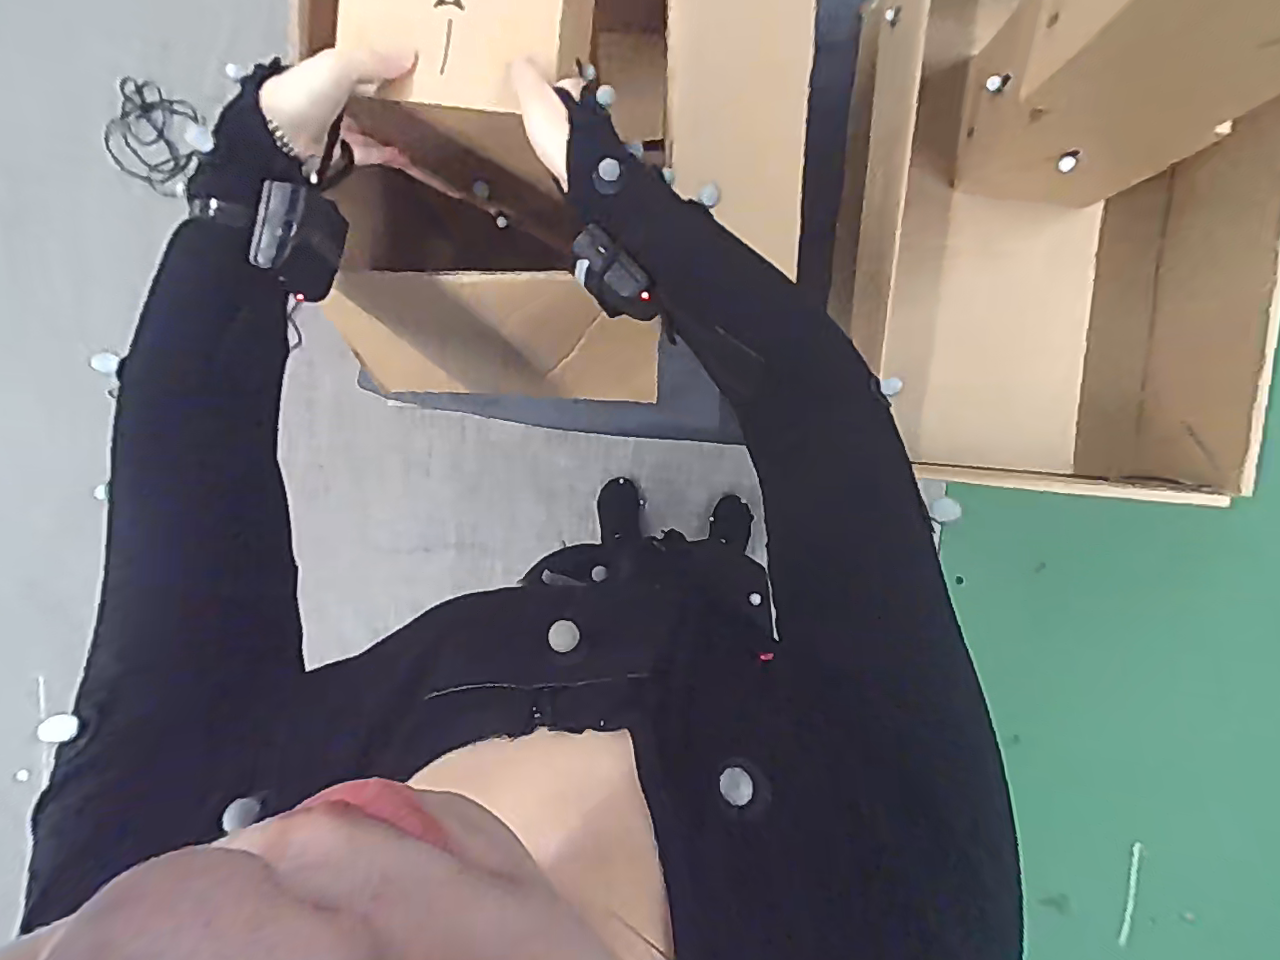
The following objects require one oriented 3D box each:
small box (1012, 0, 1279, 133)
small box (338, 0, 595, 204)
[{"bbox_3d":[0.453,-0.420,0.440,0.179,0.176,0.168,12,95,0],"label":"small box"},{"bbox_3d":[-0.134,-0.374,0.476,0.168,0.176,0.179,7,97,0],"label":"small box"}]
